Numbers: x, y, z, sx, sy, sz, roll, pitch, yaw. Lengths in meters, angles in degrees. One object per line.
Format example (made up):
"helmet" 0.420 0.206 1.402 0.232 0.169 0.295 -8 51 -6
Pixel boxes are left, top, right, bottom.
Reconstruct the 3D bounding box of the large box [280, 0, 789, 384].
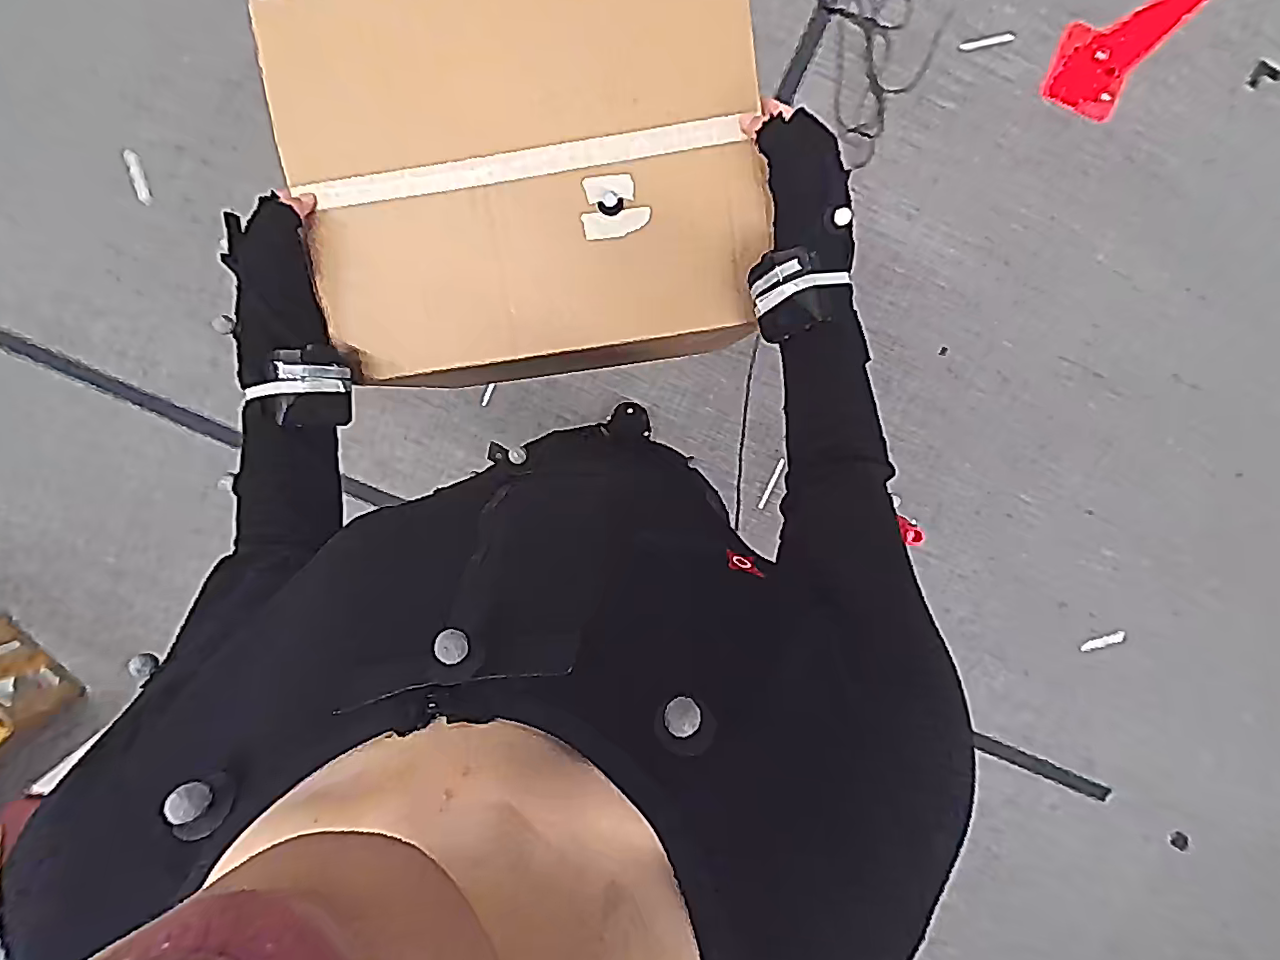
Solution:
"large box" -0.086 -0.295 0.612 0.408 0.320 0.320 -8 99 0

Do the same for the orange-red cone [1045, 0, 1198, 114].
"orange-red cone" 1.172 -1.061 1.229 0.198 0.360 0.199 21 93 -5
